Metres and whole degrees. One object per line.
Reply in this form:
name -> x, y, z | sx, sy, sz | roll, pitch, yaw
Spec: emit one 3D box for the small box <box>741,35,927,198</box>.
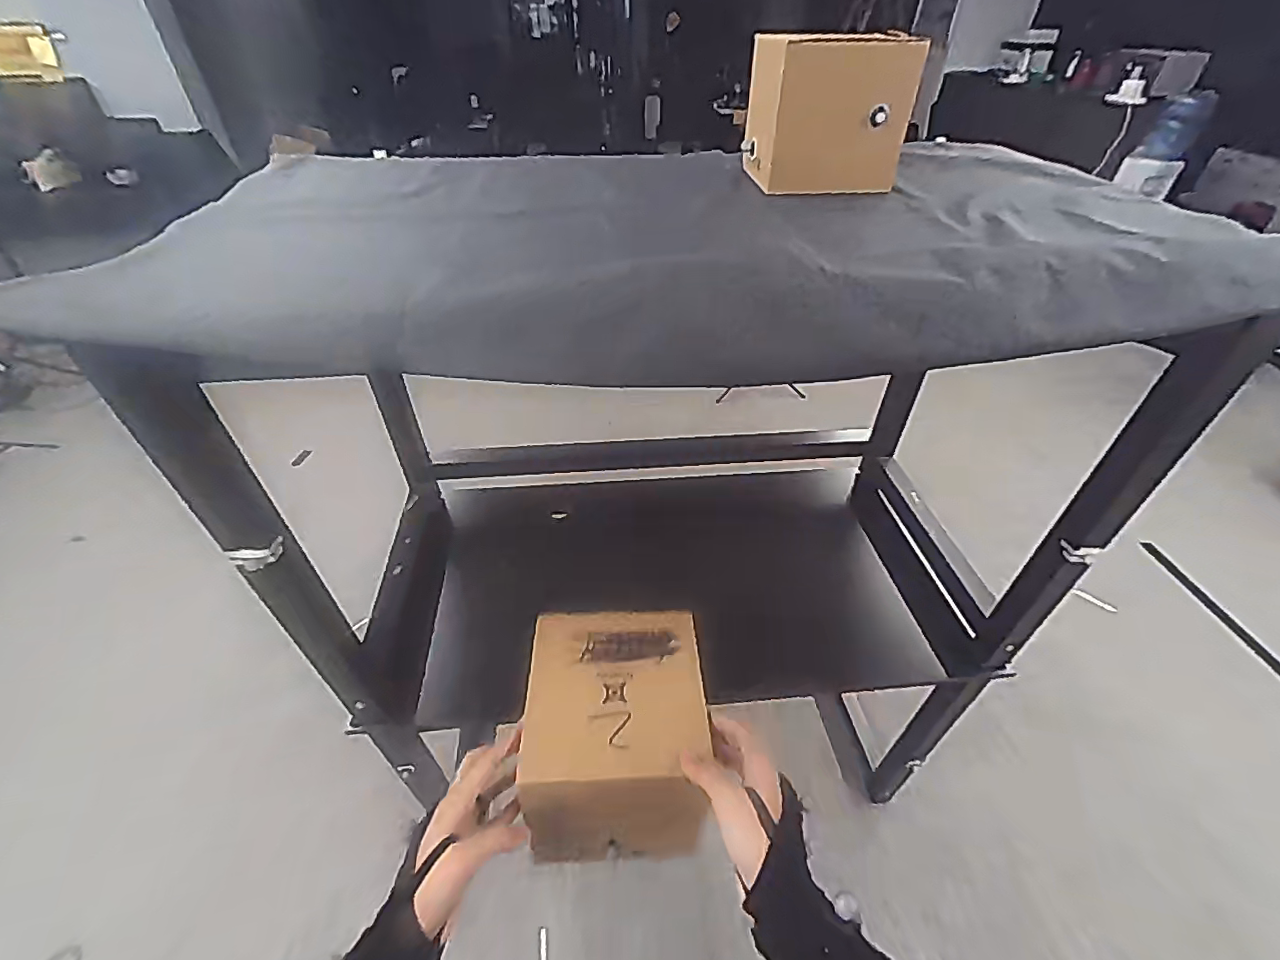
small box -> 0.249, -0.499, 0.745 | 0.179, 0.176, 0.168 | -2, 40, -3
